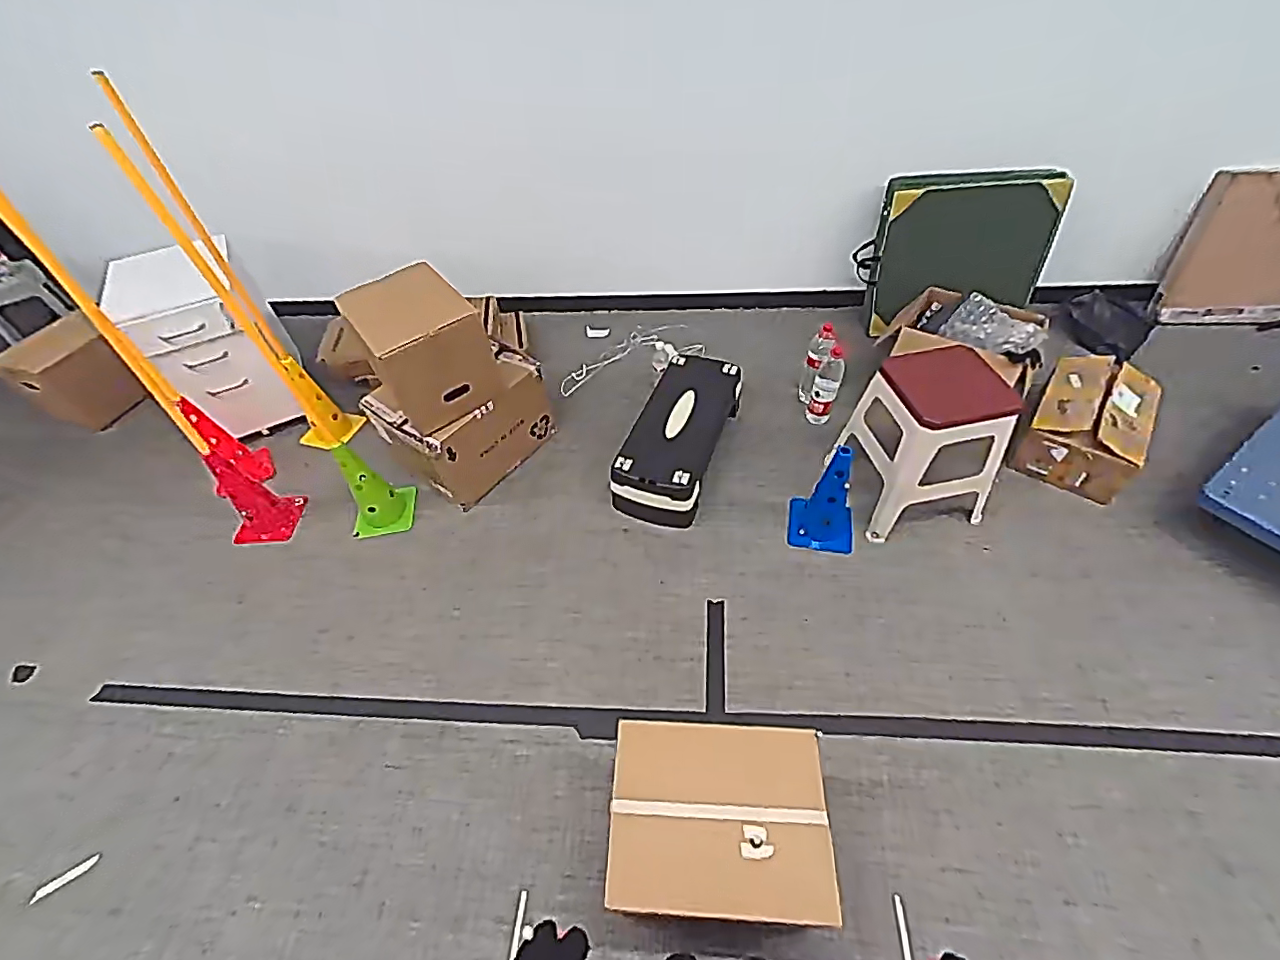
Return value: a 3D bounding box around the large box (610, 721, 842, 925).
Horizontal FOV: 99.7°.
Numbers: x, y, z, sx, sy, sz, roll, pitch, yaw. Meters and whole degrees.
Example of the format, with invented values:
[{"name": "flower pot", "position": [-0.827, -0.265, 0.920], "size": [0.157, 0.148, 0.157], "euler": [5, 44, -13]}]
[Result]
[{"name": "large box", "position": [0.155, 0.719, 1.129], "size": [0.408, 0.320, 0.320], "euler": [1, 50, 4]}]
